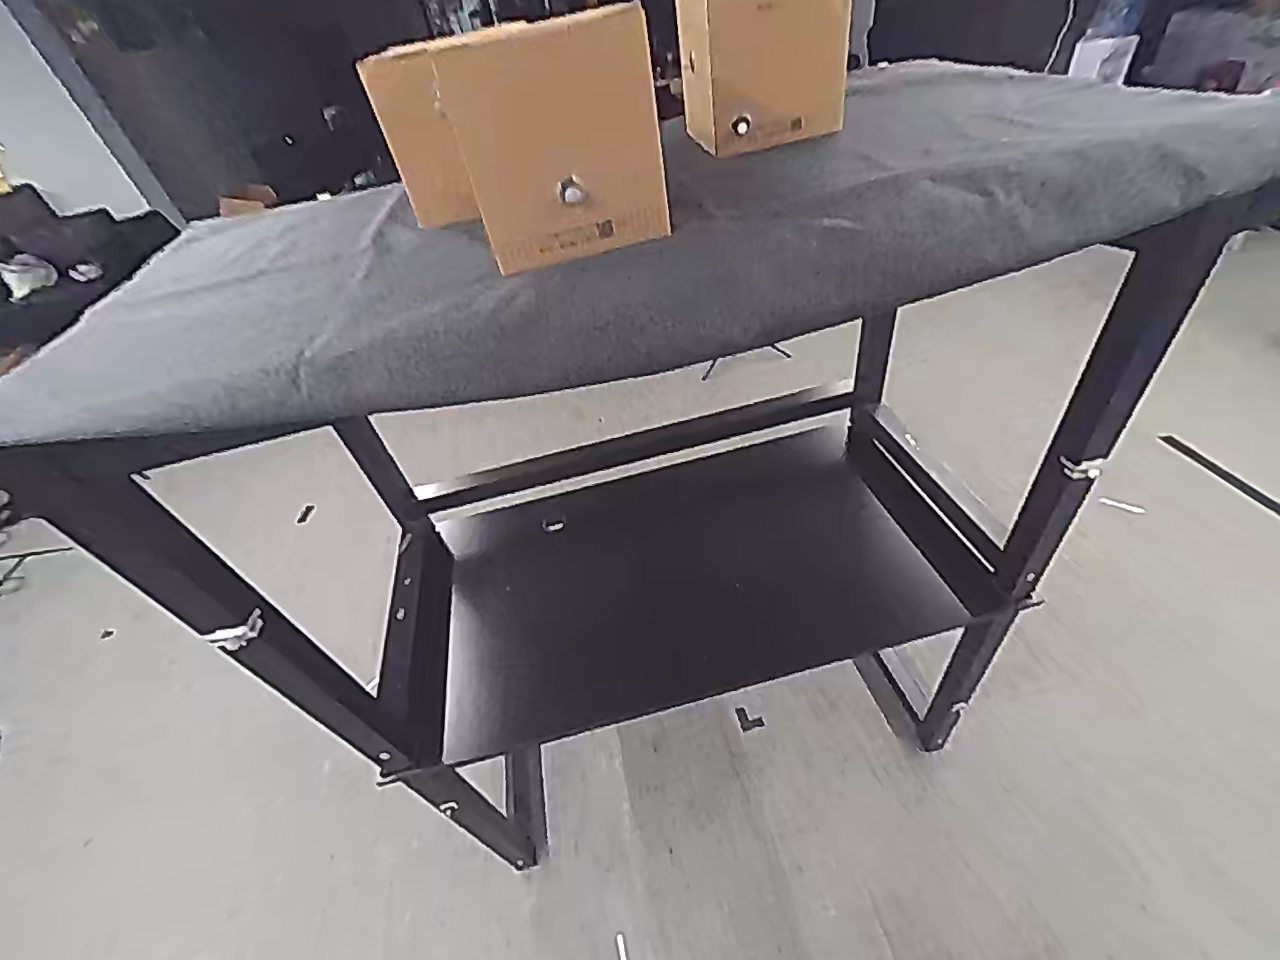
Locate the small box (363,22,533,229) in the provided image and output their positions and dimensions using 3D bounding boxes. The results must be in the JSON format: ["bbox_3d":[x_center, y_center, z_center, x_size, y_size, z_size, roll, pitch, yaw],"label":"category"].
[{"bbox_3d":[-0.197,-0.433,0.665,0.179,0.176,0.168,-11,43,1],"label":"small box"}]

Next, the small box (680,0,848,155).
[{"bbox_3d":[0.154,-0.535,0.693,0.168,0.176,0.179,-12,42,0],"label":"small box"}]

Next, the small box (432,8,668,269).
[{"bbox_3d":[-0.079,-0.321,0.513,0.168,0.176,0.179,-15,42,-3],"label":"small box"}]
